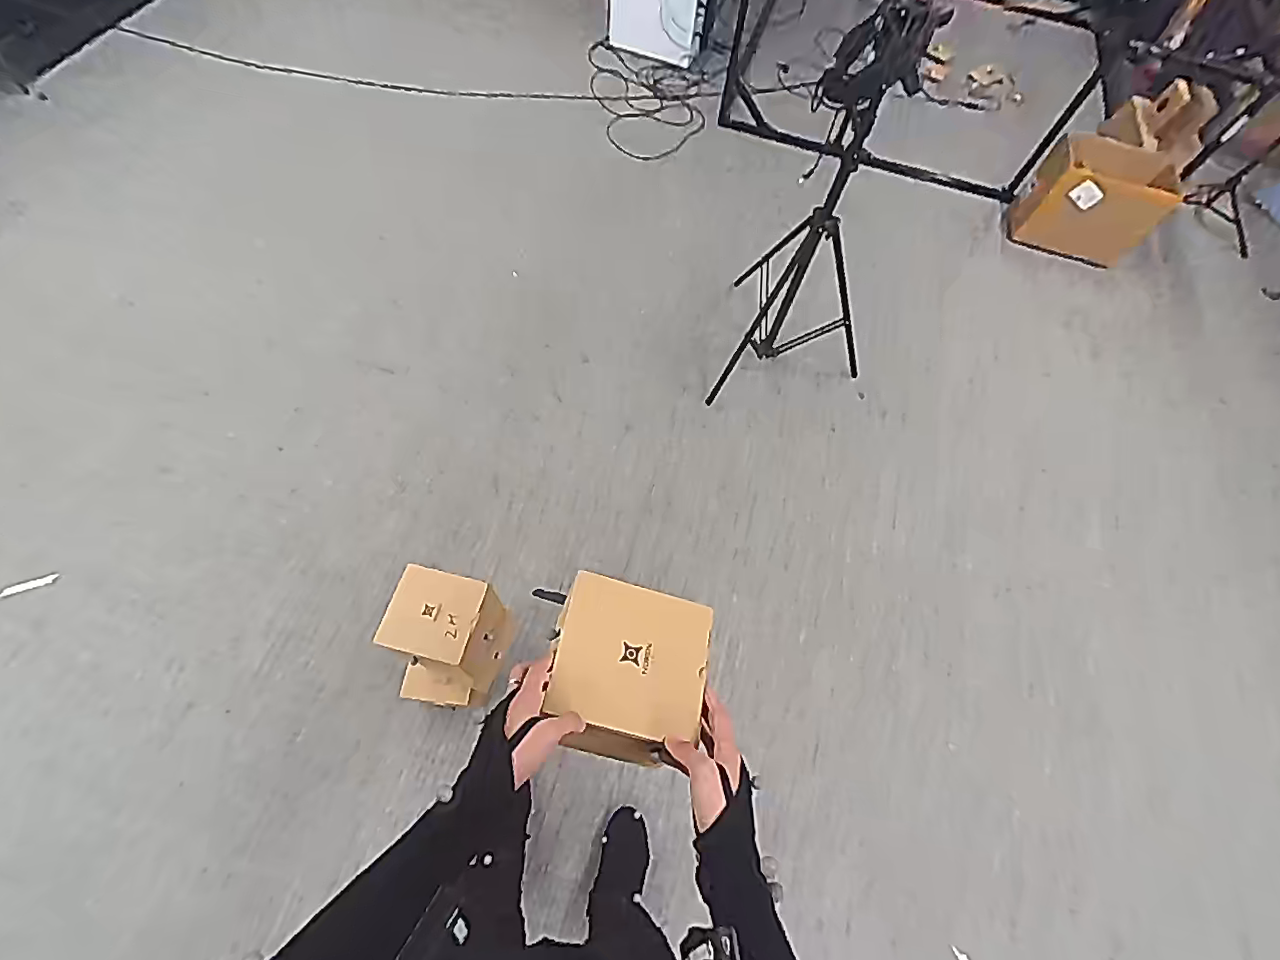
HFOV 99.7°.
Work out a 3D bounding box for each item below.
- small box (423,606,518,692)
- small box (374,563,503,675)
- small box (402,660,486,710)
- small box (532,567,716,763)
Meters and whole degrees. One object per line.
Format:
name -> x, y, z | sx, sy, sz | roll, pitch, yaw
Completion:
small box -> -0.398, 0.372, 1.258 | 0.168, 0.176, 0.179 | 20, 63, 7
small box -> -0.401, 0.292, 1.114 | 0.179, 0.176, 0.168 | 14, 62, 3
small box -> -0.478, 0.479, 1.380 | 0.168, 0.176, 0.179 | 7, 63, 0
small box -> -0.024, 0.233, 0.660 | 0.179, 0.176, 0.168 | 17, 54, -7
